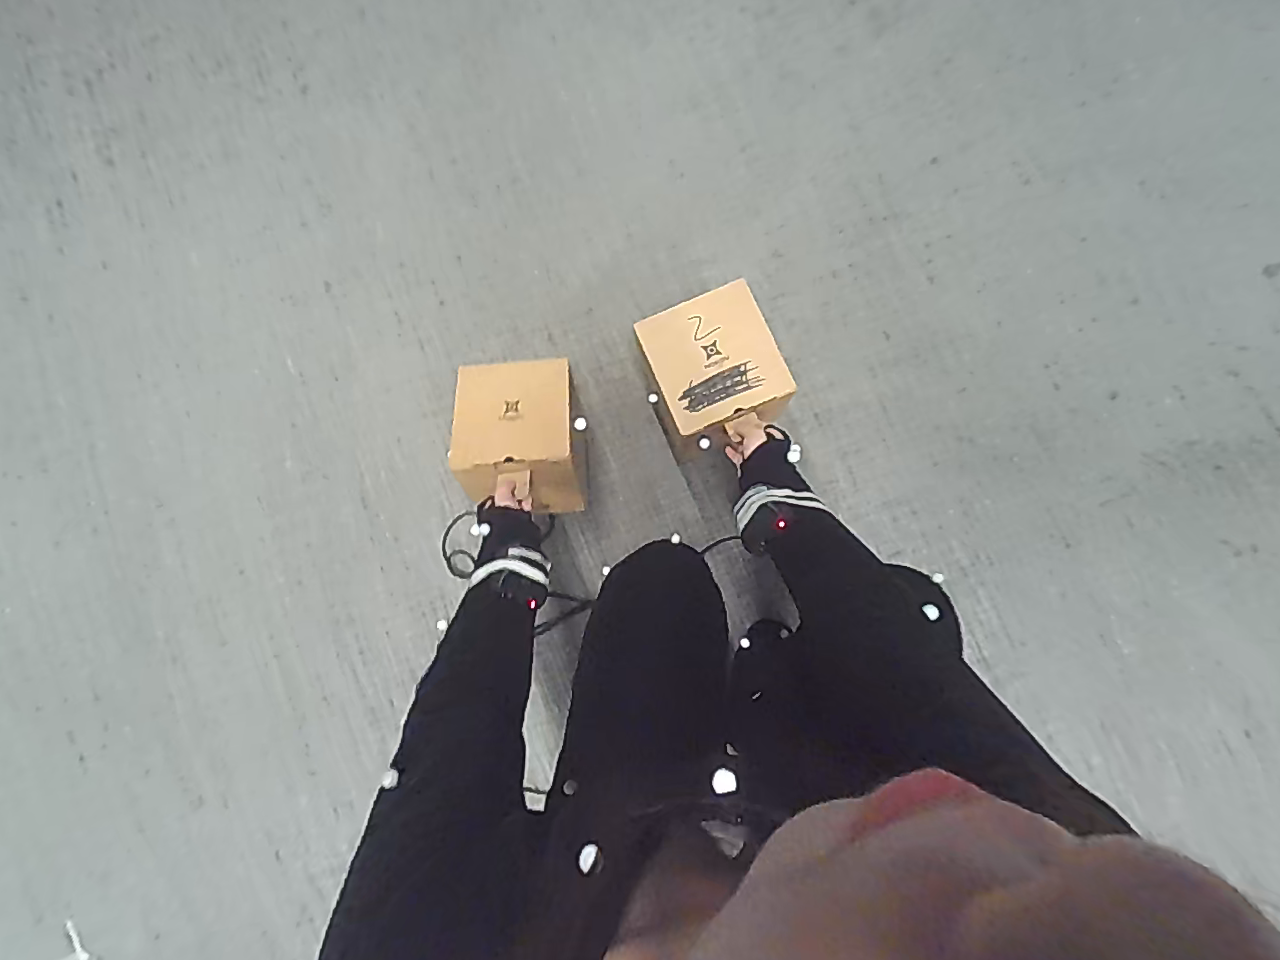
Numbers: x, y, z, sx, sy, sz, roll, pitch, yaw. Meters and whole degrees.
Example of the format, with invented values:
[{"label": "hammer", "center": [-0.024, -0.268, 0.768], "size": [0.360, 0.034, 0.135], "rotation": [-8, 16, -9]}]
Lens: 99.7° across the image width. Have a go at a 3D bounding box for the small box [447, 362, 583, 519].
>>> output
[{"label": "small box", "center": [-0.180, -0.057, 0.831], "size": [0.168, 0.176, 0.179], "rotation": [-5, 62, 0]}]
